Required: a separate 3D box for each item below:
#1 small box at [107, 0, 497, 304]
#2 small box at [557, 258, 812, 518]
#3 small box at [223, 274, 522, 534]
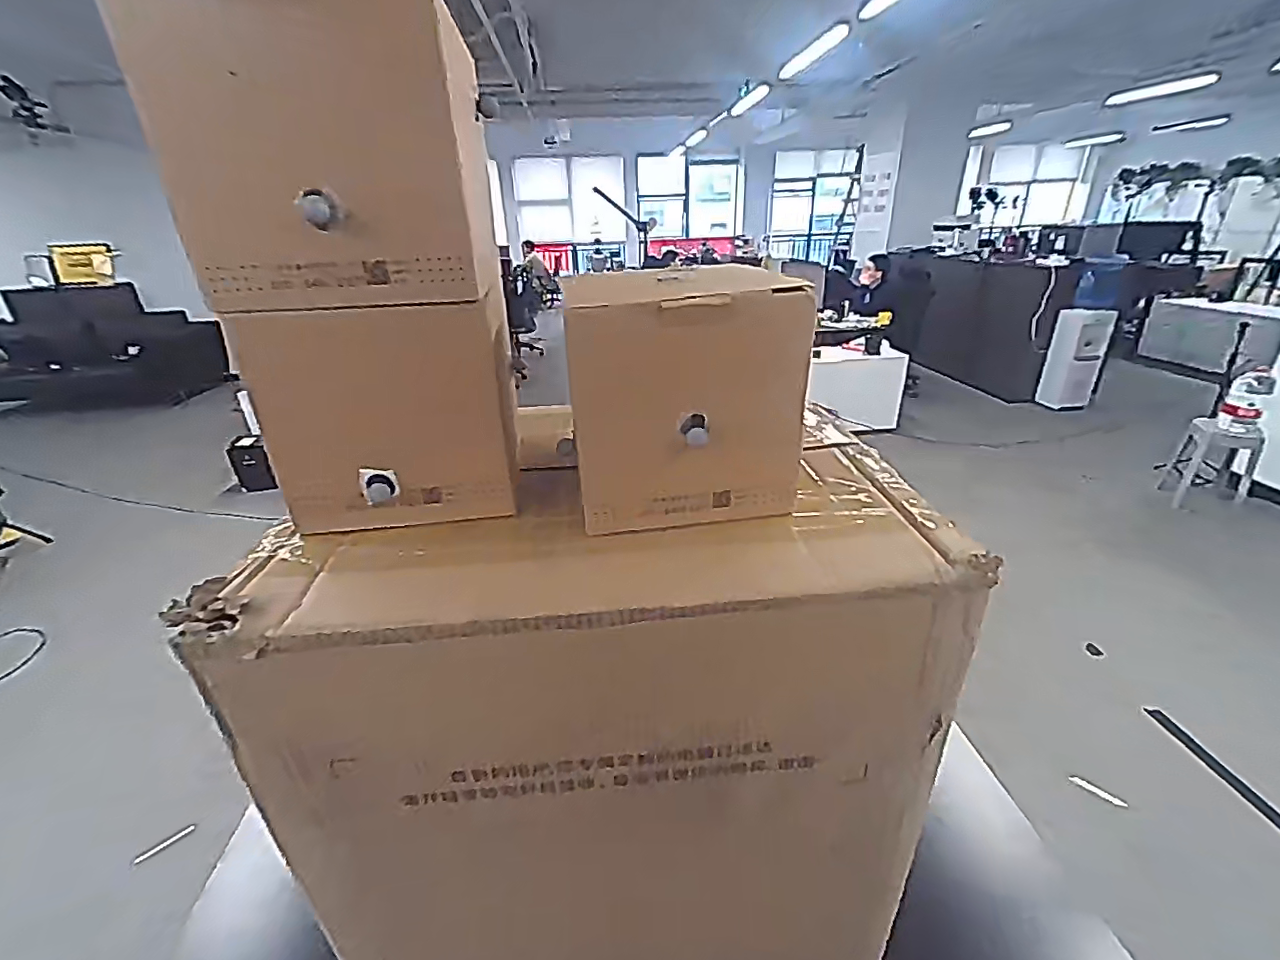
[{"bbox_3d":[-0.200,-0.221,0.380,0.168,0.176,0.179,-5,27,-7],"label":"small box"},{"bbox_3d":[0.023,-0.078,0.445,0.168,0.176,0.179,-5,28,-6],"label":"small box"},{"bbox_3d":[-0.193,-0.074,0.455,0.168,0.176,0.179,-6,28,-9],"label":"small box"}]
